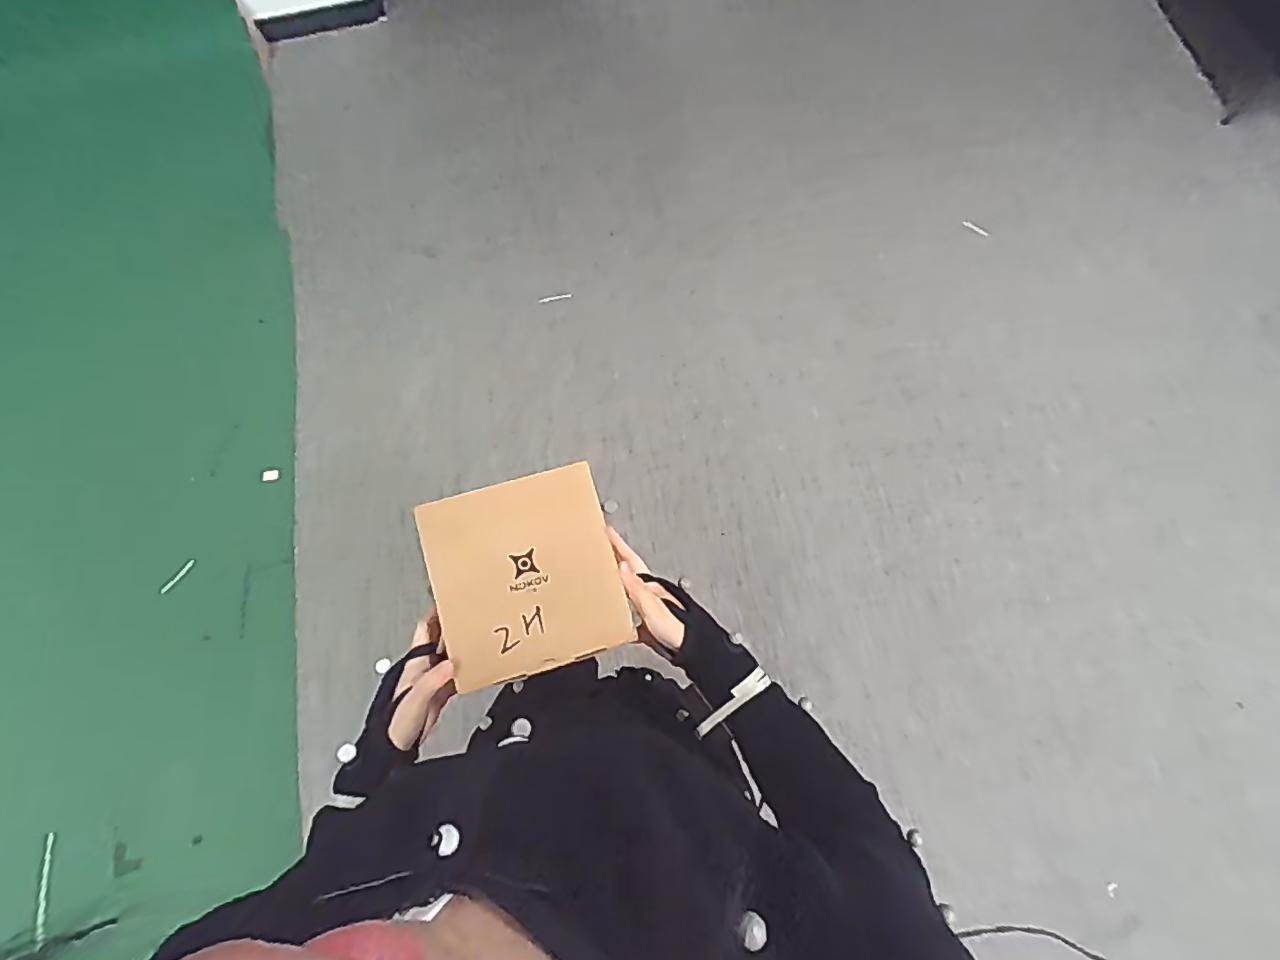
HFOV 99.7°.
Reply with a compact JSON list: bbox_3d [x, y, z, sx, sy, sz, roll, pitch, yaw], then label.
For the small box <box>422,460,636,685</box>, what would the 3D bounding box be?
[{"bbox_3d":[-0.111,0.094,0.579,0.168,0.176,0.179,-15,84,-7],"label":"small box"}]
